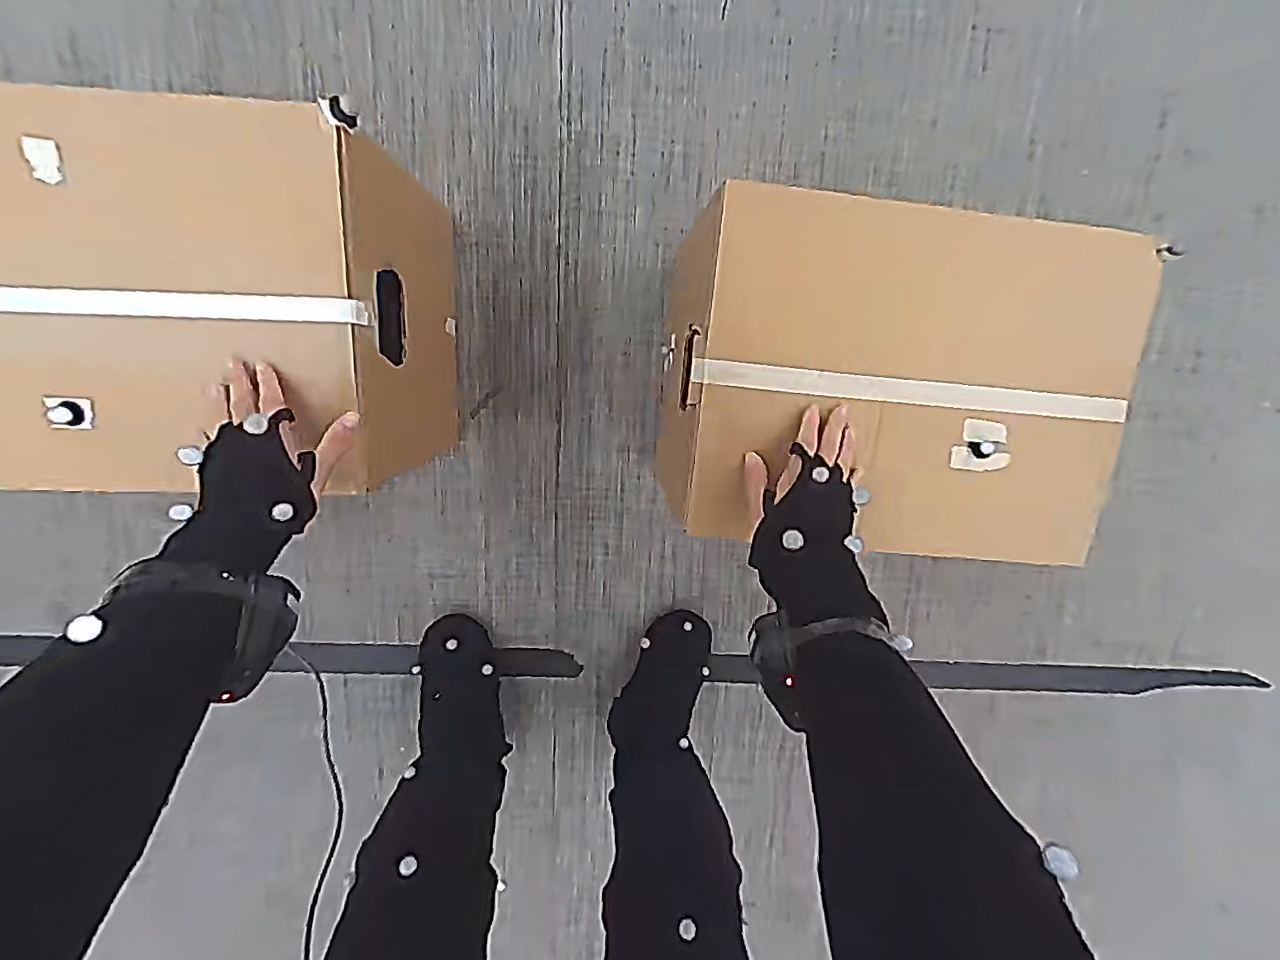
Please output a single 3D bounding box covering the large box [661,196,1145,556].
[{"bbox_3d":[0.249,-0.111,0.656,0.408,0.320,0.320,5,101,-5],"label":"large box"}]
